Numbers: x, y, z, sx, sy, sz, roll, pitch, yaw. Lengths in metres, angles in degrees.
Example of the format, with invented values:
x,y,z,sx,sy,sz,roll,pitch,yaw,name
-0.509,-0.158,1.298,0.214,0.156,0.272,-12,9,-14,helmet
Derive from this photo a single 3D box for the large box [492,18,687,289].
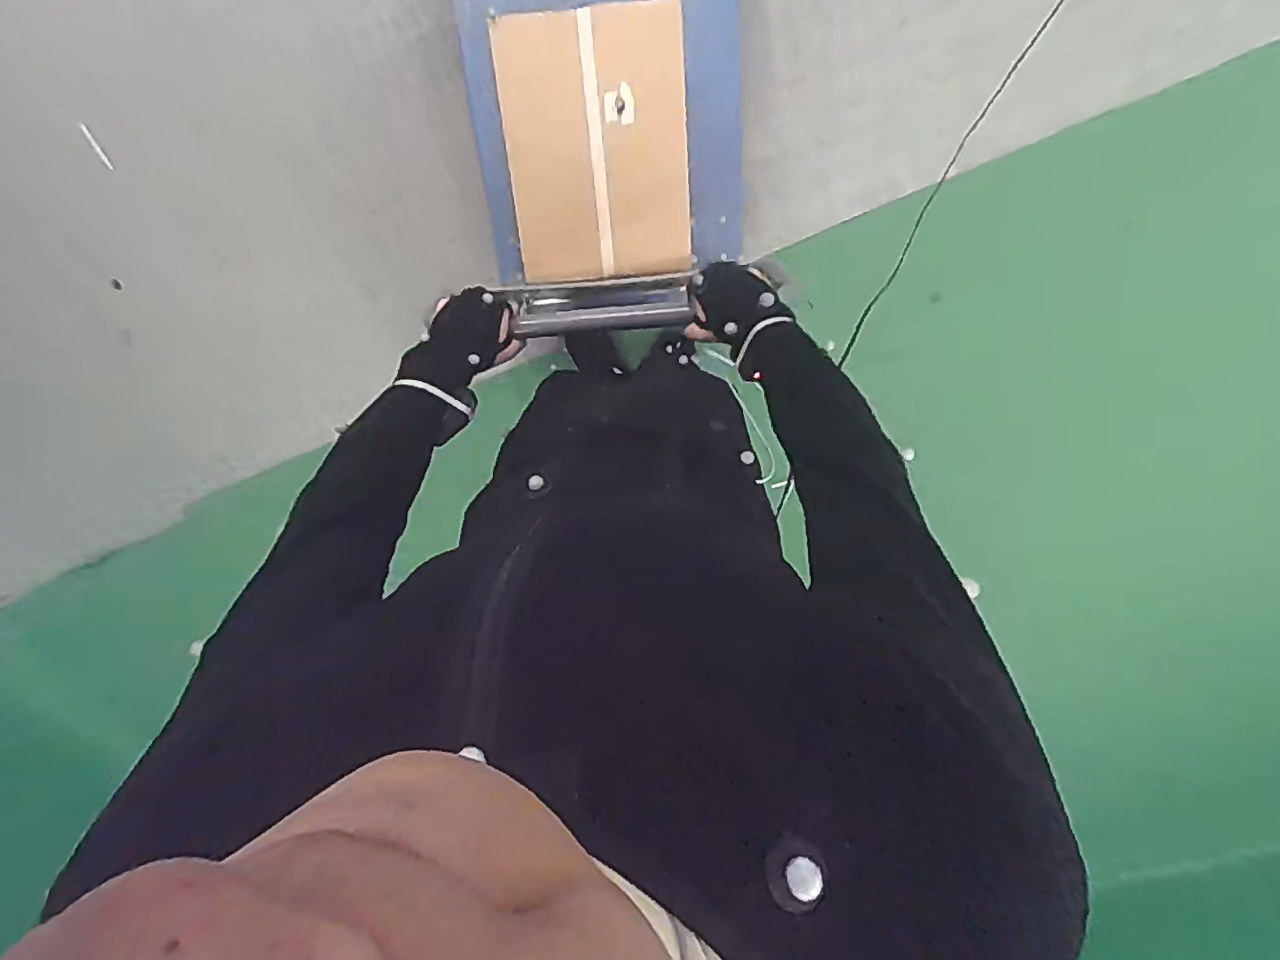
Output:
x,y,z,sx,sy,sz,roll,pitch,yaw,name
-0.076,-0.617,1.099,0.320,0.320,0.408,-3,112,1,large box
